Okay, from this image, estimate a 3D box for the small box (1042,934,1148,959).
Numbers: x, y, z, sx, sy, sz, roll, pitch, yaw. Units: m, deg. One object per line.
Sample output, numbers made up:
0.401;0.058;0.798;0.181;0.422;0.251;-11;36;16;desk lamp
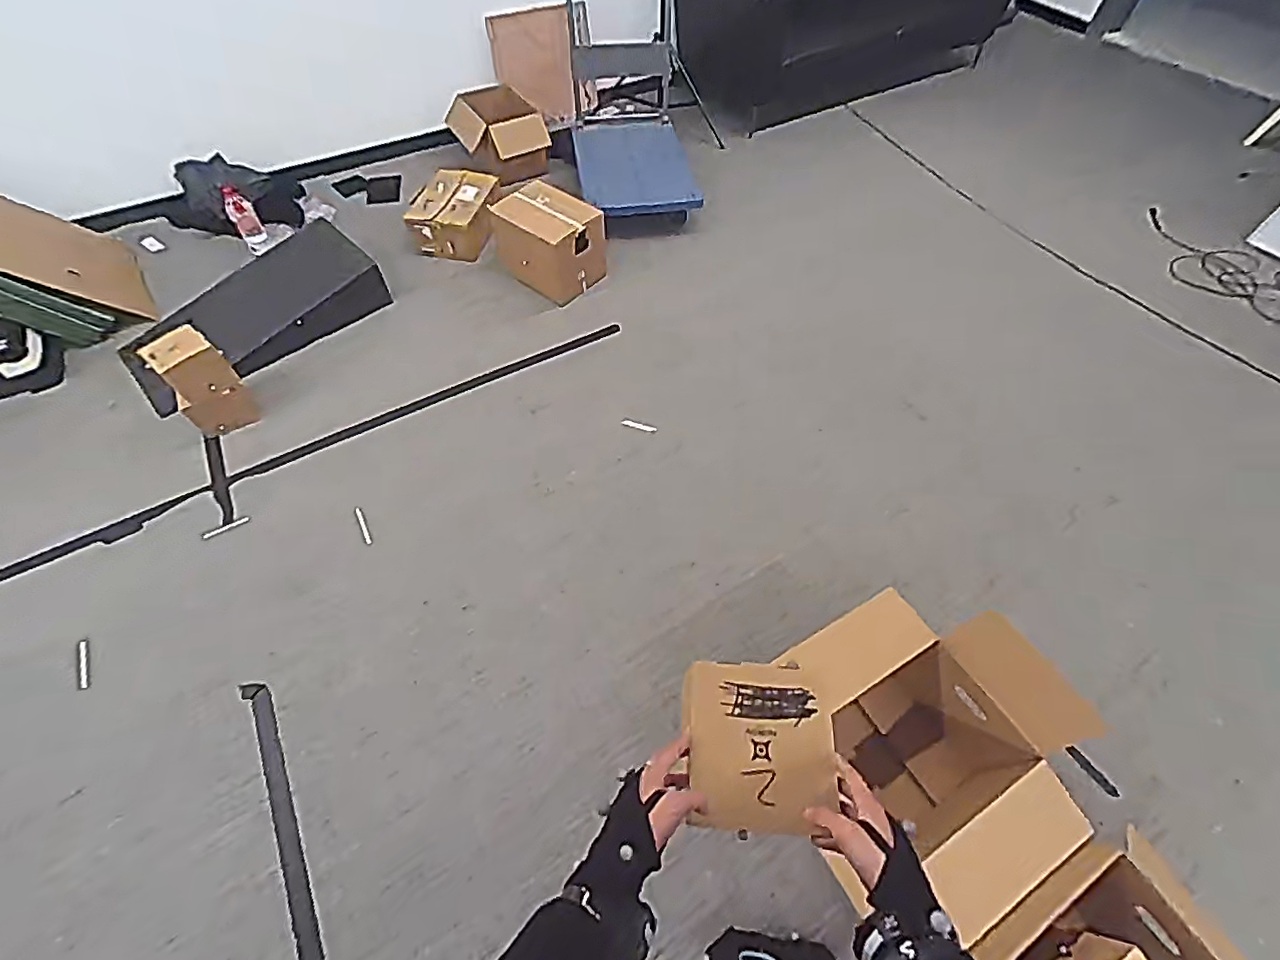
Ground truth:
0.850;0.964;0.963;0.168;0.176;0.179;-26;61;-14;small box
